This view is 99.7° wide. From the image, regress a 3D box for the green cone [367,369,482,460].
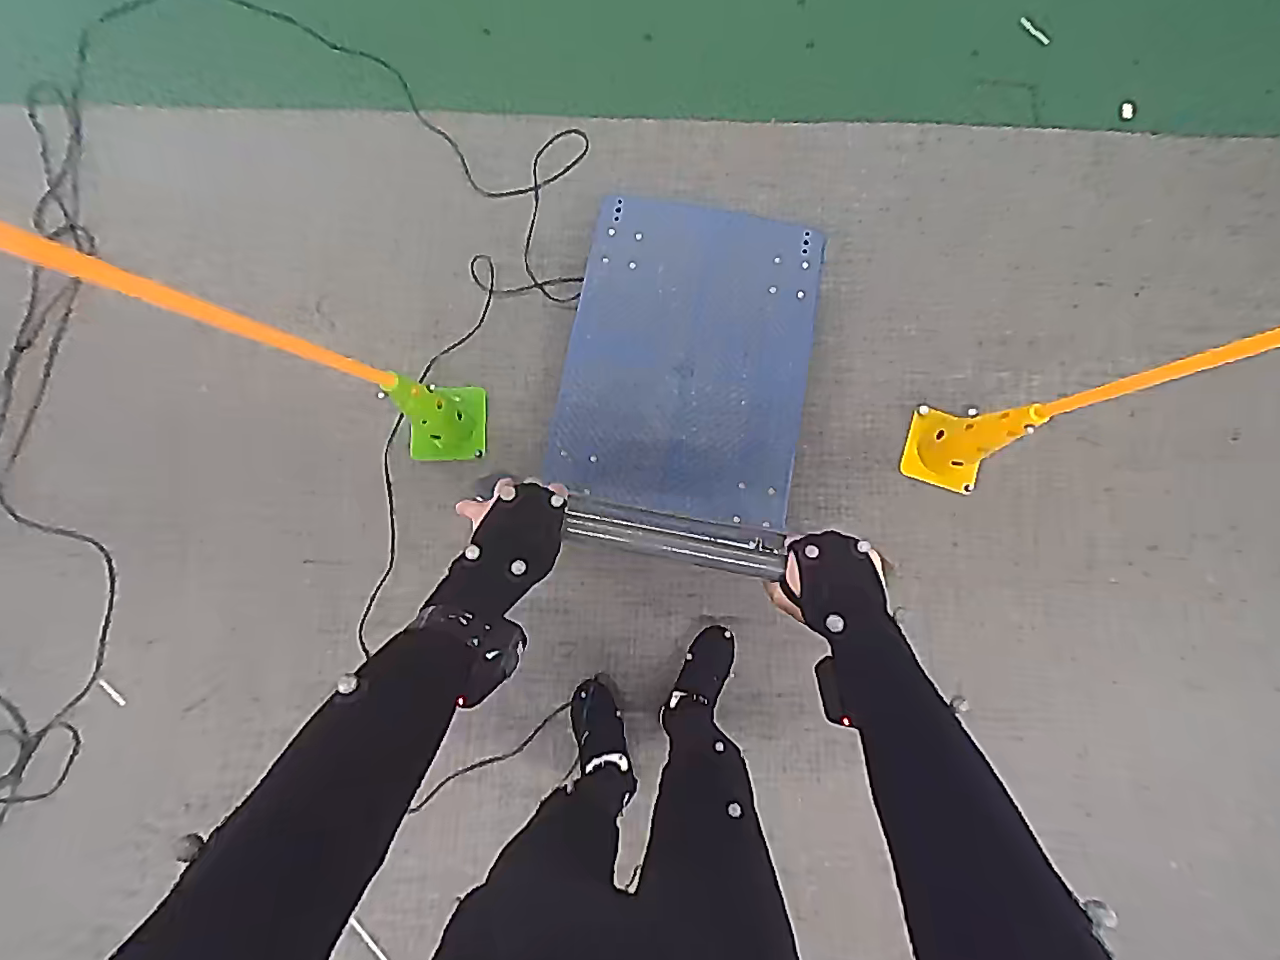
[{"bbox_3d":[-0.525,-0.182,1.268,0.202,0.368,0.200,-2,81,1],"label":"green cone"}]
